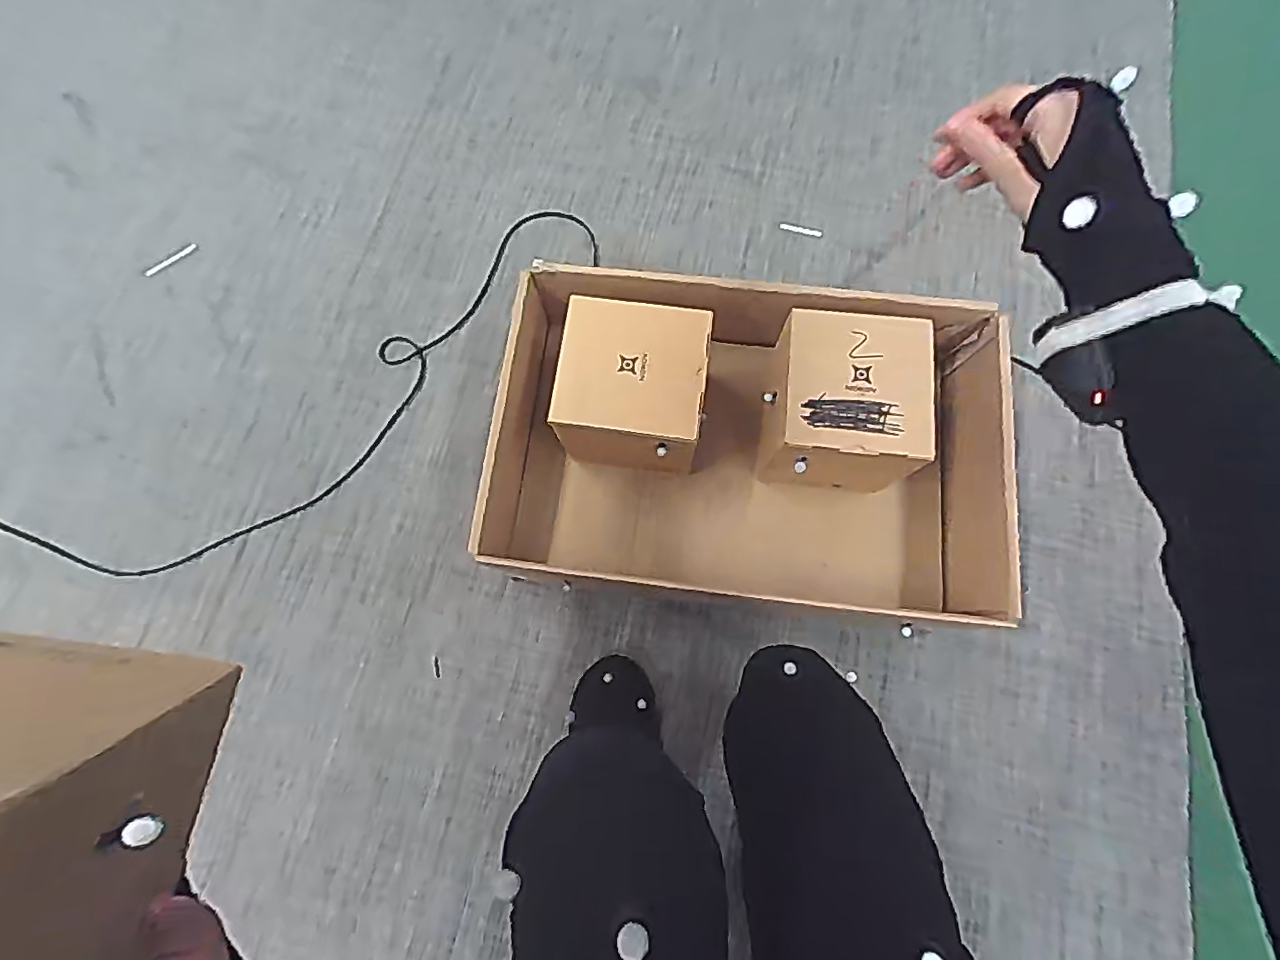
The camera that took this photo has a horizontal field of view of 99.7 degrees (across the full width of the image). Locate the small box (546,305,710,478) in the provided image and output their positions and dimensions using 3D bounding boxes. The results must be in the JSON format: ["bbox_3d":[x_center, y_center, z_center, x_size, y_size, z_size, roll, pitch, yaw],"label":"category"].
[{"bbox_3d":[-0.011,-0.106,0.712,0.179,0.176,0.168,7,77,2],"label":"small box"}]

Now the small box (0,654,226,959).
[{"bbox_3d":[-0.307,0.175,0.211,0.168,0.176,0.179,15,83,-13],"label":"small box"}]
